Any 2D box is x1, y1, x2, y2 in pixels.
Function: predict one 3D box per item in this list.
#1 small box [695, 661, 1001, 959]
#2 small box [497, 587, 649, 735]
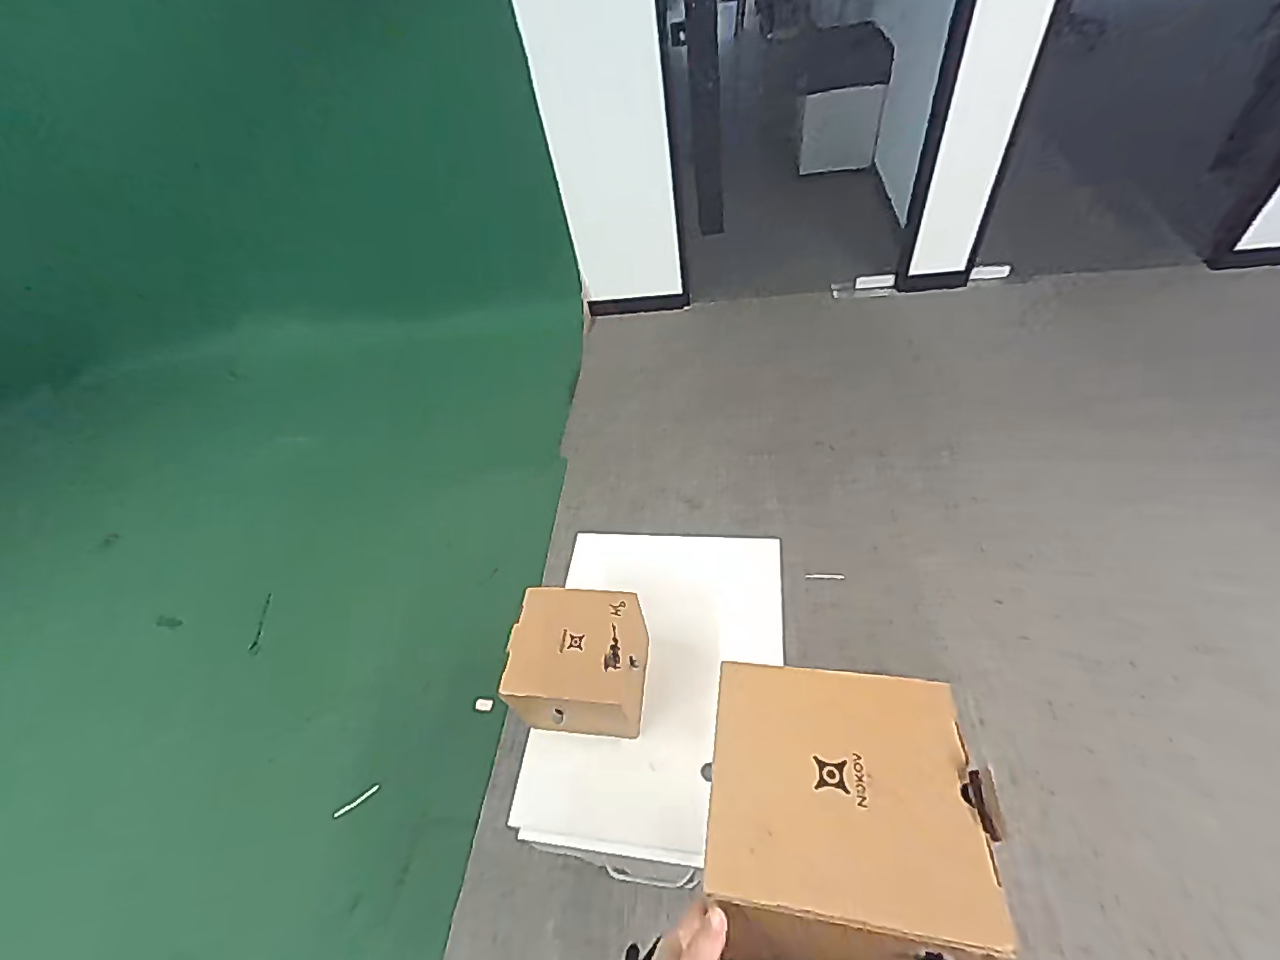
[{"bbox_3d":[0.144,0.267,0.427,0.179,0.176,0.168,1,39,13],"label":"small box"},{"bbox_3d":[-0.090,0.279,0.828,0.179,0.176,0.168,1,52,10],"label":"small box"}]
